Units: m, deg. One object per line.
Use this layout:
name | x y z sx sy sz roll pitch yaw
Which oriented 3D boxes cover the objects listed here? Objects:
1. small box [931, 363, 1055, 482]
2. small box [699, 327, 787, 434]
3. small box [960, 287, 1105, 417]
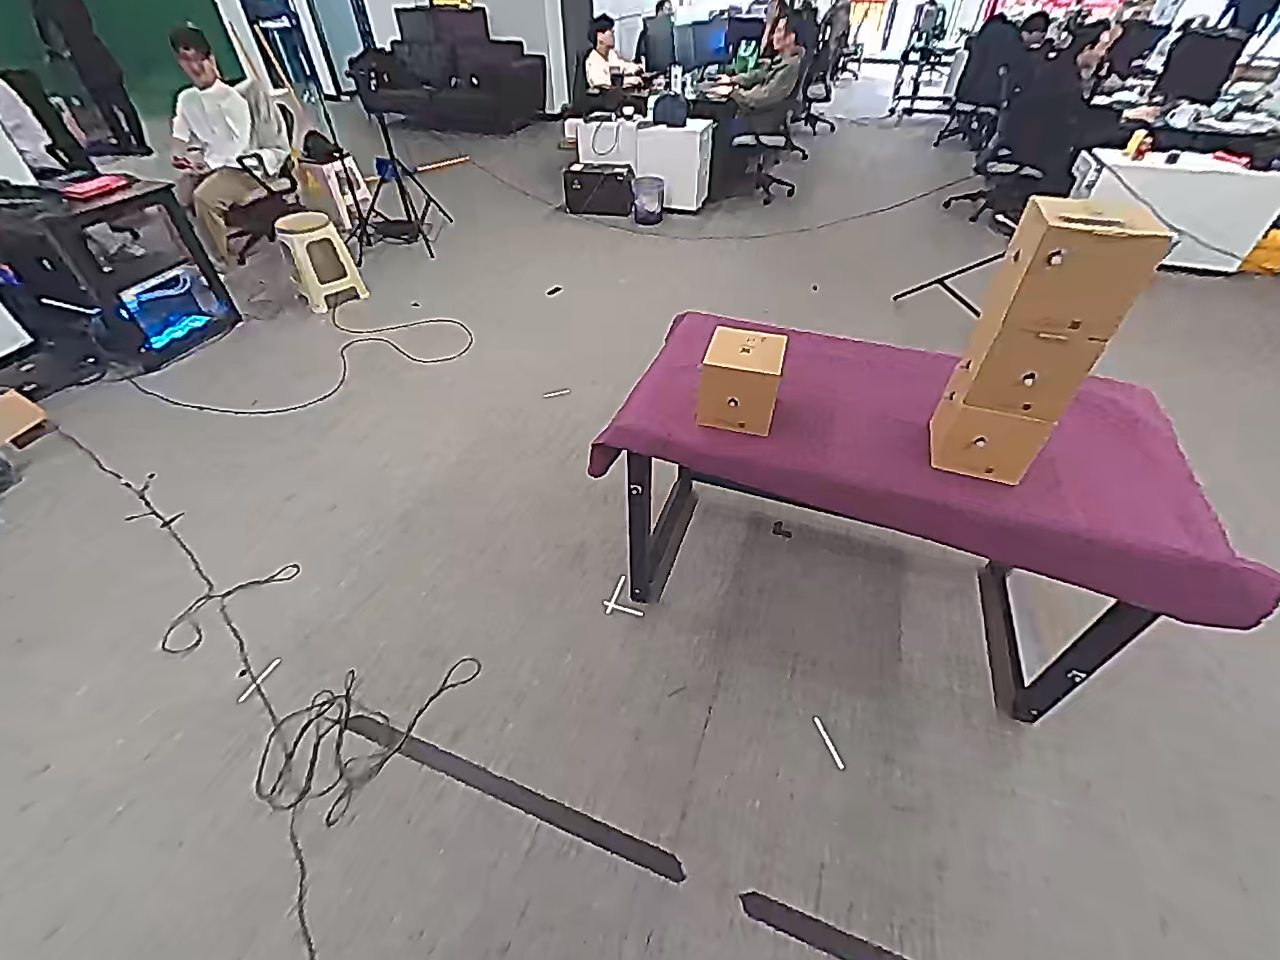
small box | 0.731 -0.121 1.141 0.168 0.176 0.179 14 45 15
small box | 0.235 -0.229 1.252 0.168 0.176 0.179 12 44 11
small box | 0.732 -0.243 1.032 0.168 0.176 0.179 15 46 16
